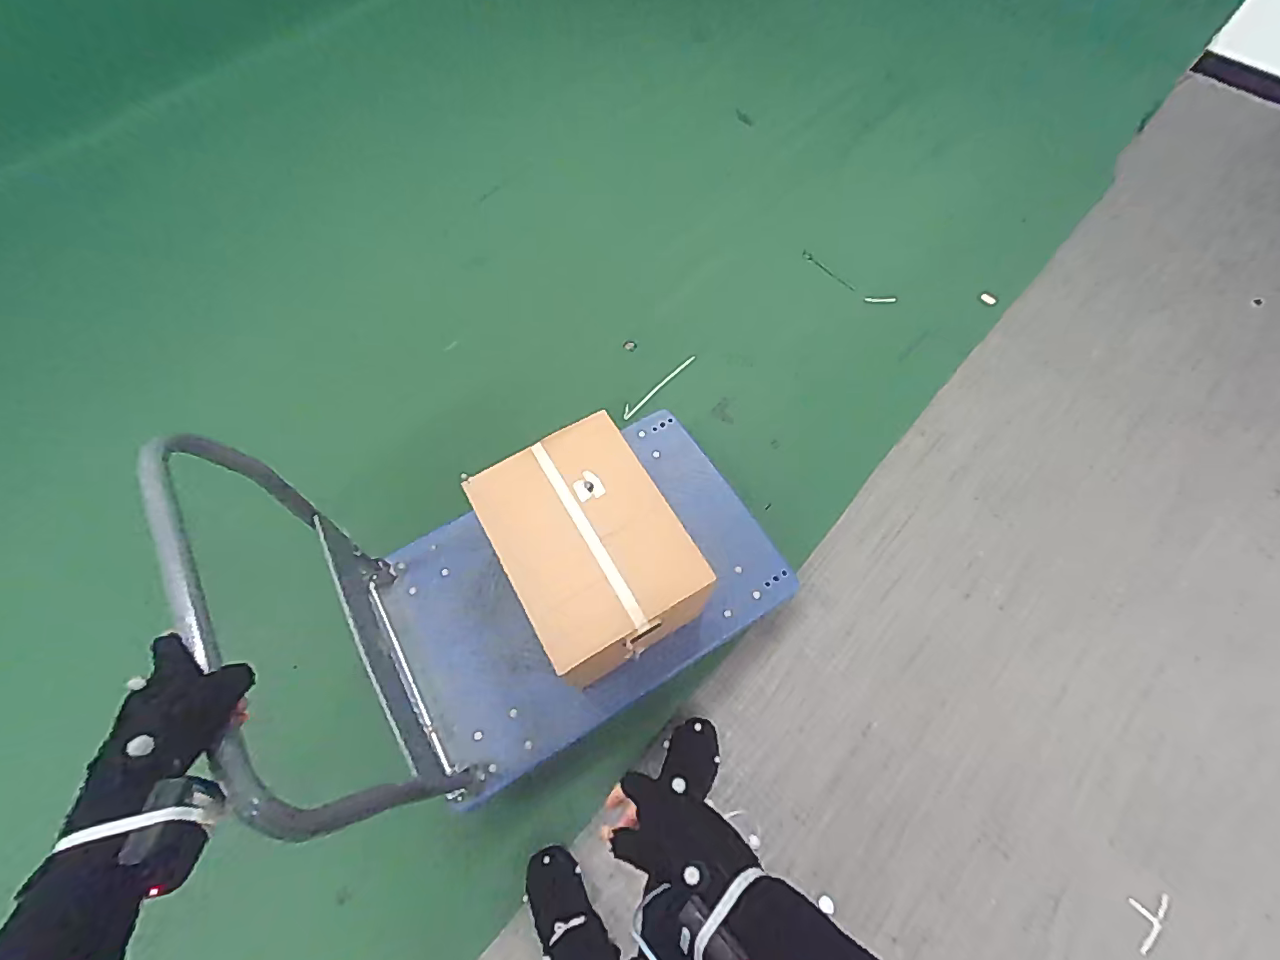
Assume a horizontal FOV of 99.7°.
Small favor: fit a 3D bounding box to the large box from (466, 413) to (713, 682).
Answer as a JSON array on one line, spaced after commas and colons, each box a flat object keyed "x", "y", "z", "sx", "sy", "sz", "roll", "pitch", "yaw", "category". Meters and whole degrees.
[{"x": -0.096, "y": 0.149, "z": 1.120, "sx": 0.320, "sy": 0.320, "sz": 0.408, "roll": -29, "pitch": 67, "yaw": -12, "category": "large box"}]
